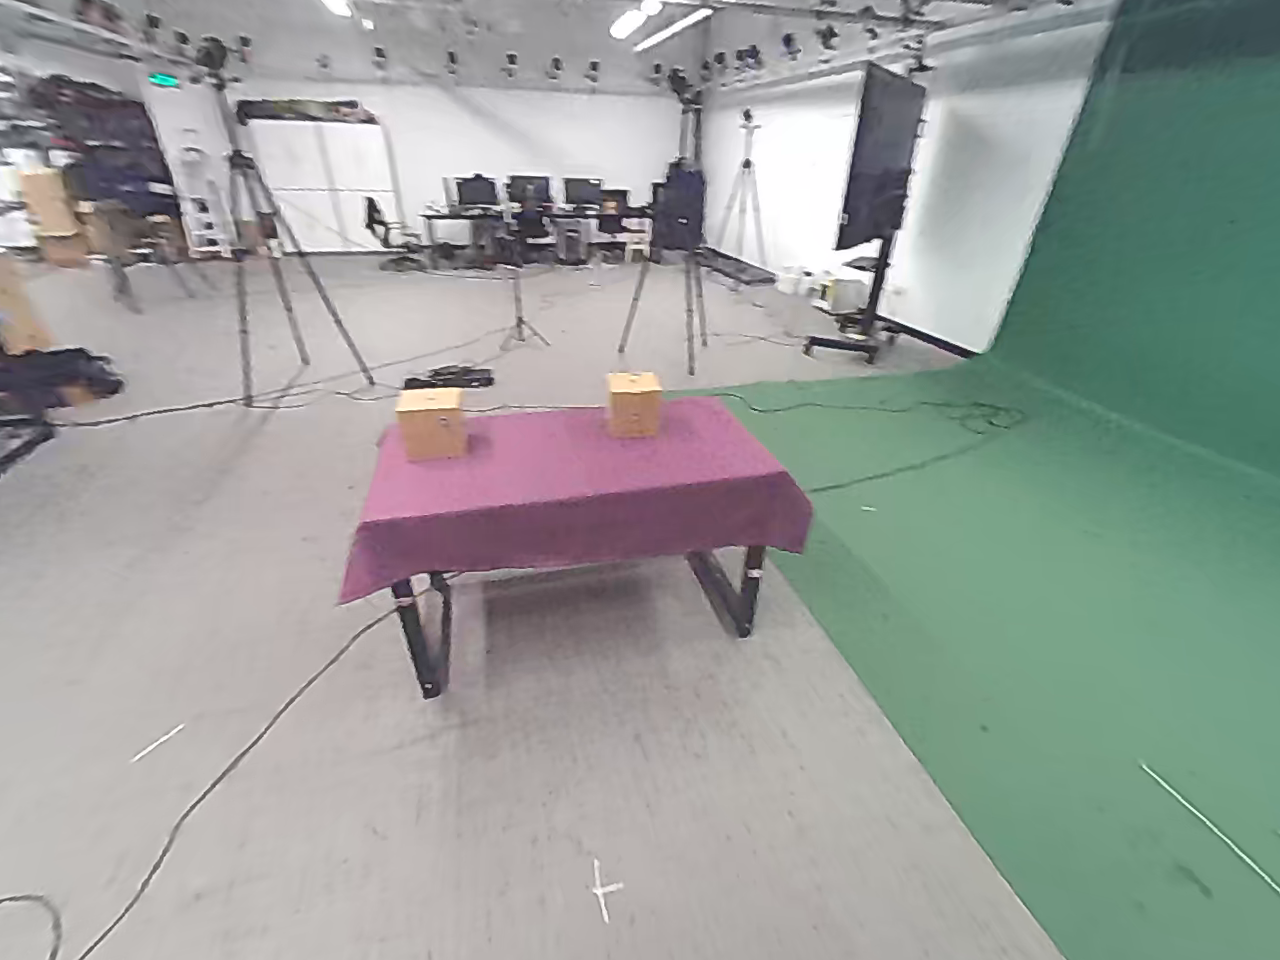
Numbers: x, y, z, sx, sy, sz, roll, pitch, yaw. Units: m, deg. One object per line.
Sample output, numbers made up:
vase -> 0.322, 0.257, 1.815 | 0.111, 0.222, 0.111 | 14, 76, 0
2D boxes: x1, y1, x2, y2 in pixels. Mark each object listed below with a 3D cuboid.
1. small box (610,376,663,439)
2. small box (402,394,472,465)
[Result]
small box -> -0.014, -0.248, 1.864 | 0.168, 0.176, 0.179 | -3, 32, -6
small box -> -0.634, -0.161, 1.710 | 0.179, 0.176, 0.168 | -6, 31, -11
